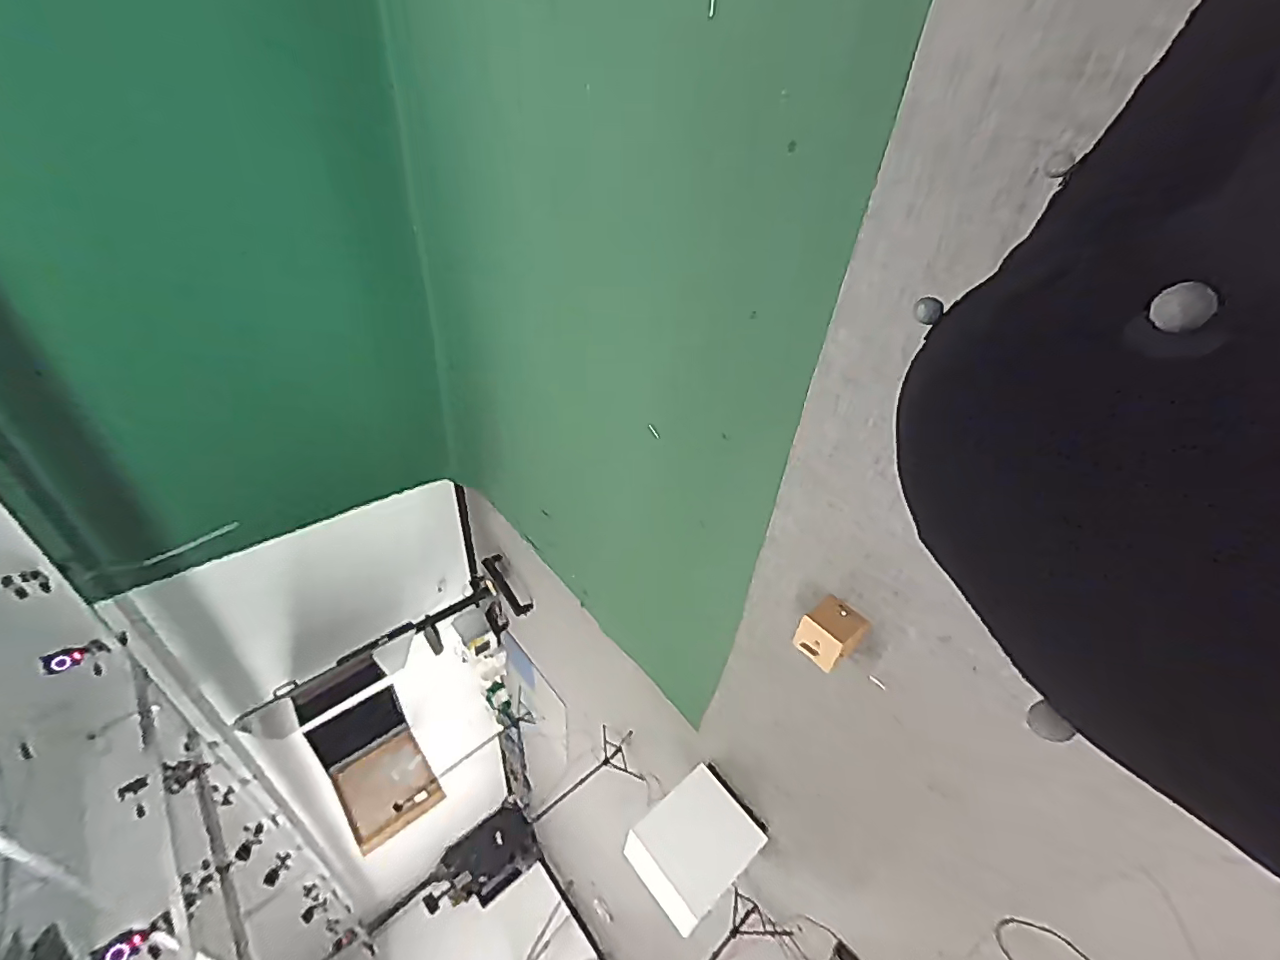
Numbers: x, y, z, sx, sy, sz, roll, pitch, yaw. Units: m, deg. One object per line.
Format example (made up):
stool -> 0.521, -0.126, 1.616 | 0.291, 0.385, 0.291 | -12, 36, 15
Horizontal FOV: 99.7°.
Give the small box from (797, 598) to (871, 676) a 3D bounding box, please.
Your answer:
small box -> 0.707, 0.565, 1.963 | 0.168, 0.176, 0.179 | 38, 137, 35
